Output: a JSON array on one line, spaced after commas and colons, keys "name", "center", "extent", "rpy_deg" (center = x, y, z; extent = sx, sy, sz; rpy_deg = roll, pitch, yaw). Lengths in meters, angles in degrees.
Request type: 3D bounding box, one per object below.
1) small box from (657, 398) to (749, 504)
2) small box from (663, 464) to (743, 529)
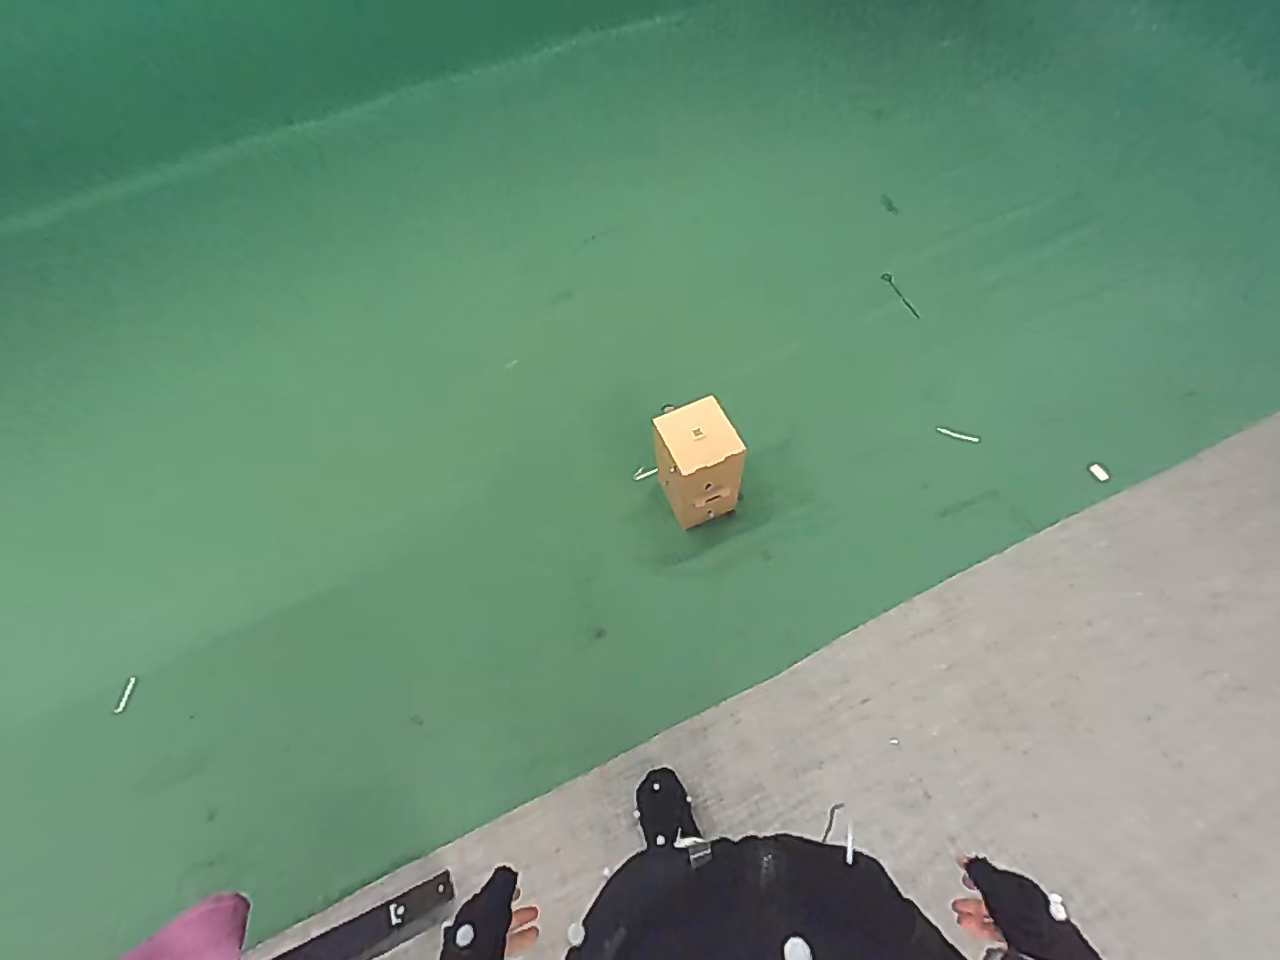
[{"name": "small box", "center": [0.152, -0.068, 1.356], "extent": [0.168, 0.176, 0.179], "rpy_deg": [-23, 63, -8]}, {"name": "small box", "center": [0.167, 0.007, 1.500], "extent": [0.168, 0.176, 0.179], "rpy_deg": [-22, 63, -6]}]
